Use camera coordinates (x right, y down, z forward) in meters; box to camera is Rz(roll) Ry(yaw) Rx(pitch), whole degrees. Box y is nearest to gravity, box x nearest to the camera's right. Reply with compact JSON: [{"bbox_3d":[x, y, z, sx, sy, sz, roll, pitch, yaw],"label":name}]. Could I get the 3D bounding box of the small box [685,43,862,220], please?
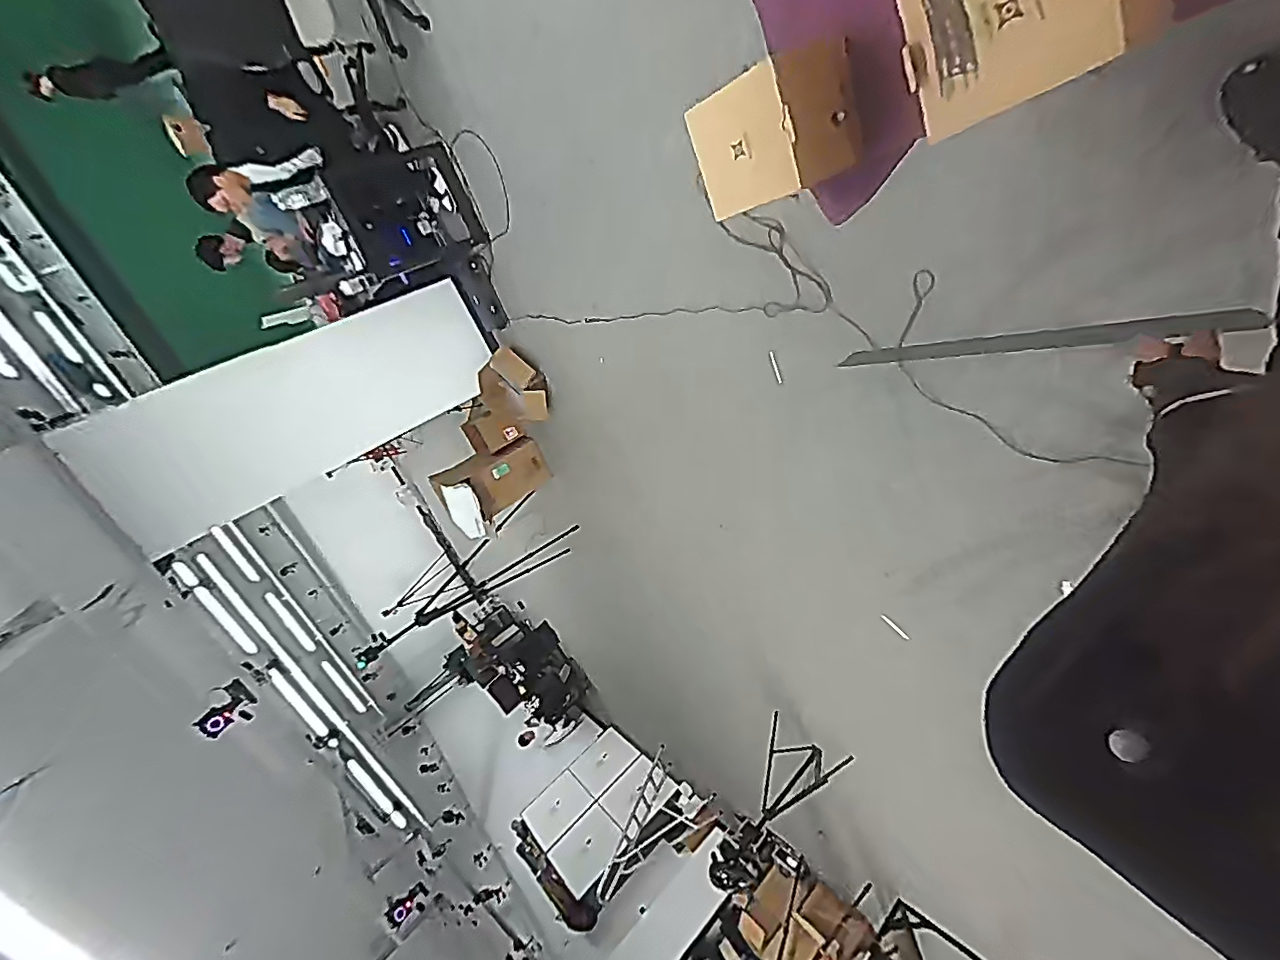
[{"bbox_3d":[0.205,-0.526,0.829,0.179,0.176,0.168,9,129,53],"label":"small box"}]
